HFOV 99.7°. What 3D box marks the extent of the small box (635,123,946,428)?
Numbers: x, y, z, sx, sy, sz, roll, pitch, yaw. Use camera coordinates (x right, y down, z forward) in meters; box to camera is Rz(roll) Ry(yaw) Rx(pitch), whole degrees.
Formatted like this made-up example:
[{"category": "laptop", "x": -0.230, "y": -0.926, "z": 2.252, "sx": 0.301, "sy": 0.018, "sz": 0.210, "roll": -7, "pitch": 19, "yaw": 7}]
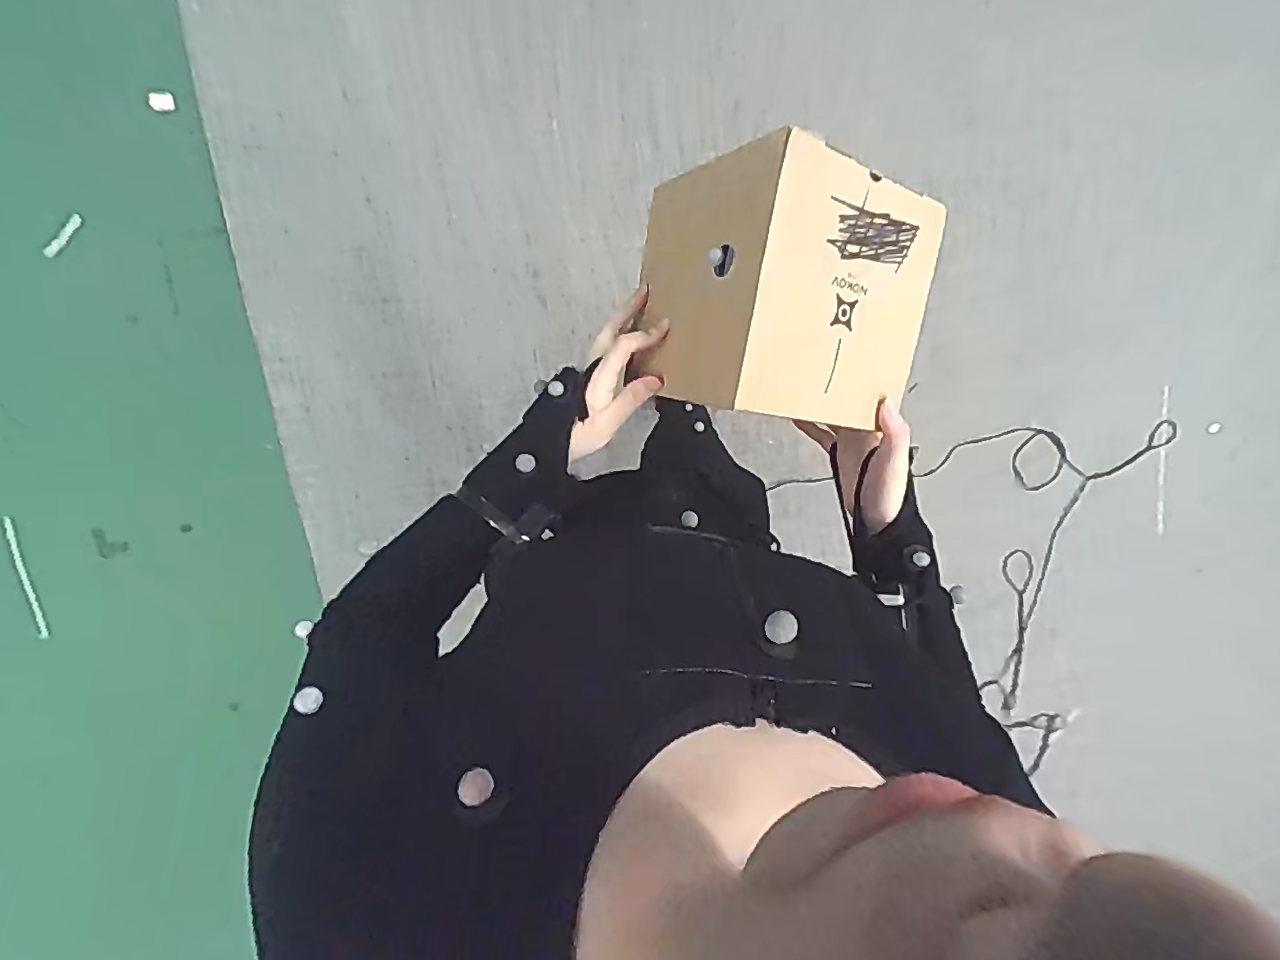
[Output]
[{"category": "small box", "x": 0.111, "y": -0.148, "z": 0.451, "sx": 0.168, "sy": 0.176, "sz": 0.179, "roll": 3, "pitch": 102, "yaw": -30}]
